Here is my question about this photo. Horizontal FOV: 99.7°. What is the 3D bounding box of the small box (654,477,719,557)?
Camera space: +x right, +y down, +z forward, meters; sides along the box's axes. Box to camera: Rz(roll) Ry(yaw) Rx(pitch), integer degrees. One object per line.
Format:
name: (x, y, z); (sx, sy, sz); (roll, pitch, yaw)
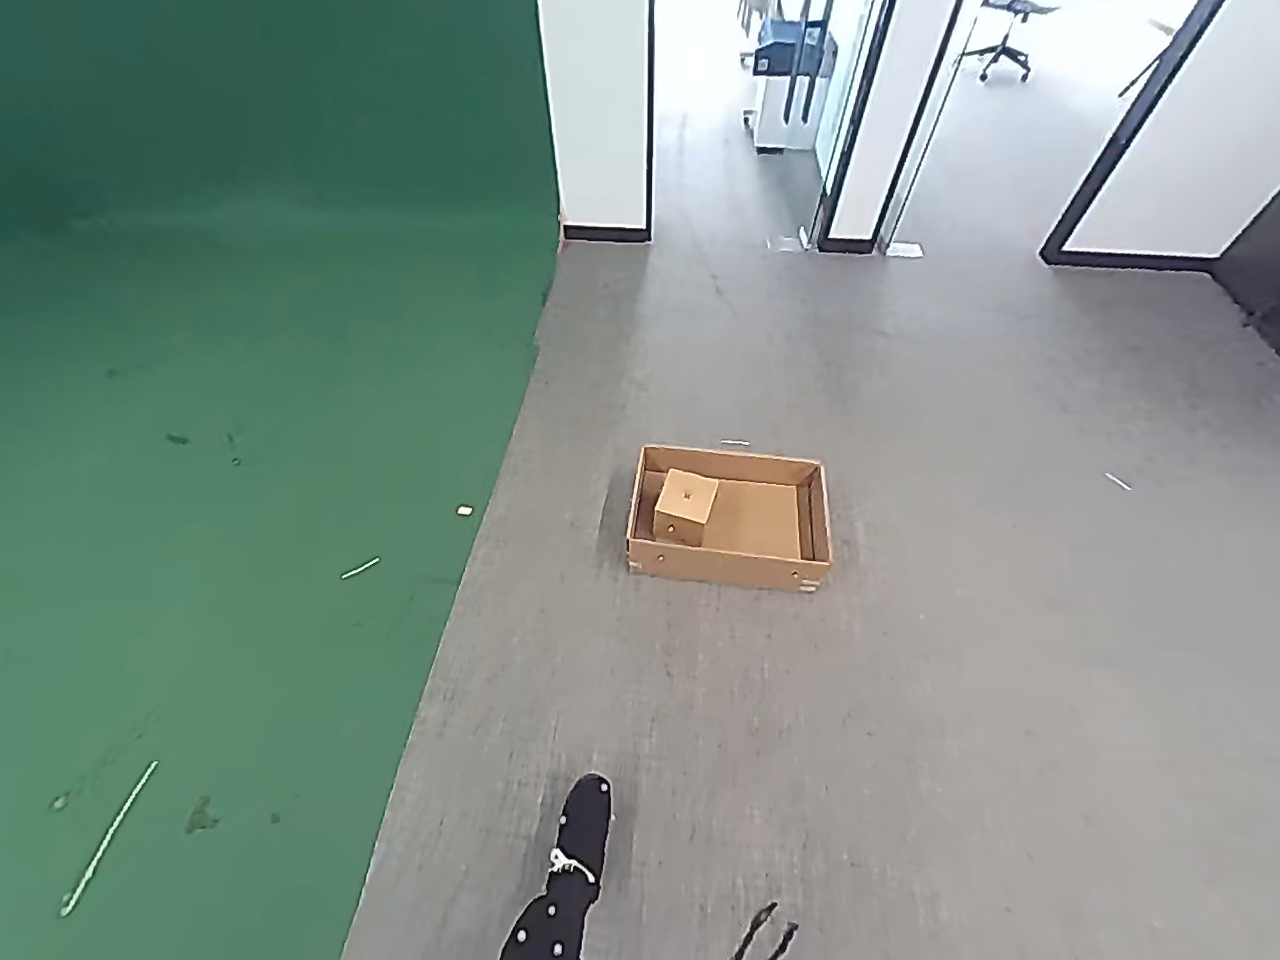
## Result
small box: (0.148, 0.123, 1.750); (0.168, 0.176, 0.179); (15, 52, 11)
